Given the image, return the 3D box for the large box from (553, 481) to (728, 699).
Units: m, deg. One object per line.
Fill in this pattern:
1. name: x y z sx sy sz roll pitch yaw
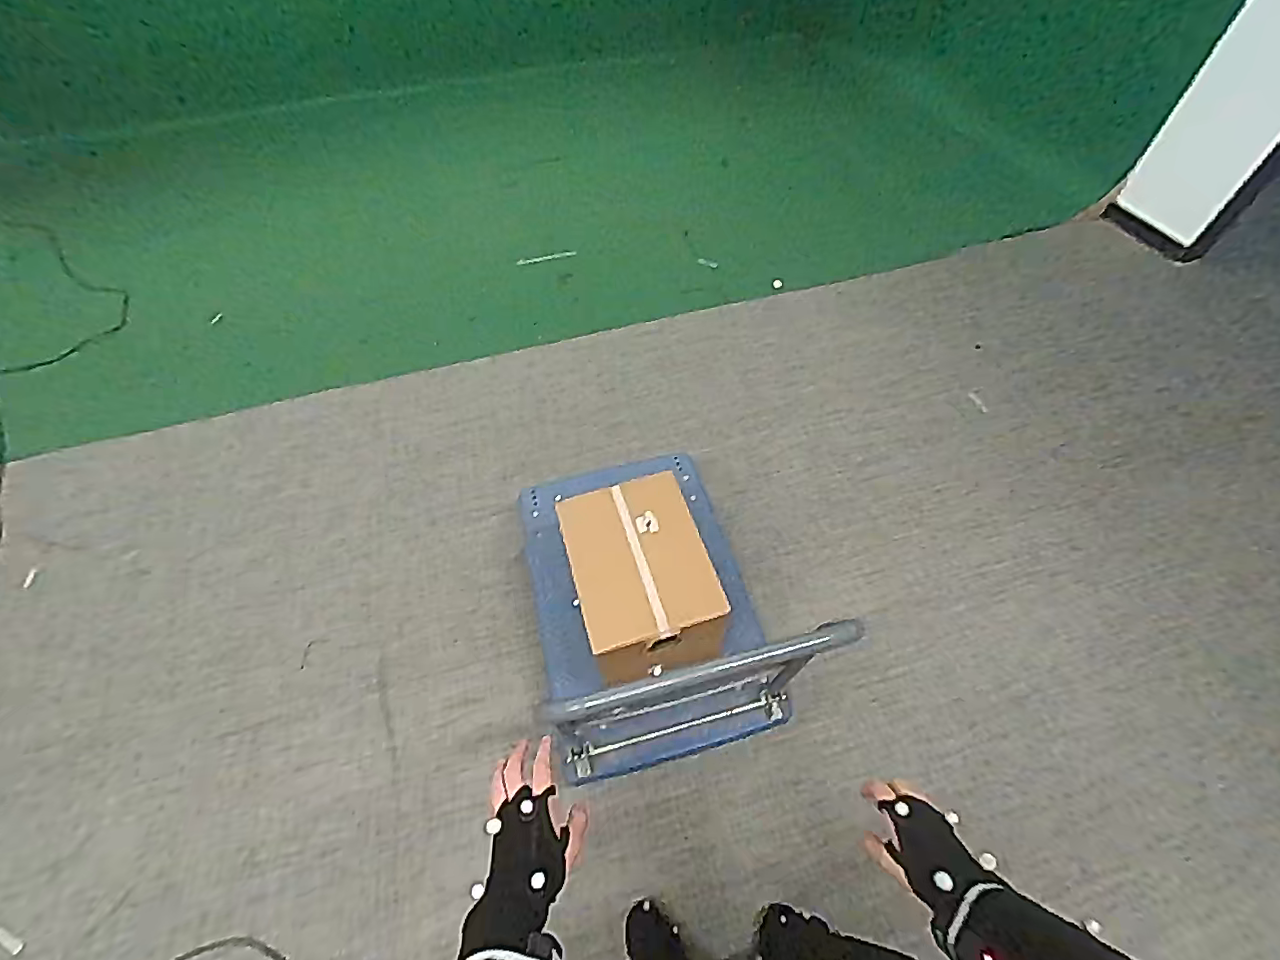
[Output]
1. large box: -0.003 0.281 1.386 0.320 0.320 0.408 -16 55 -9
